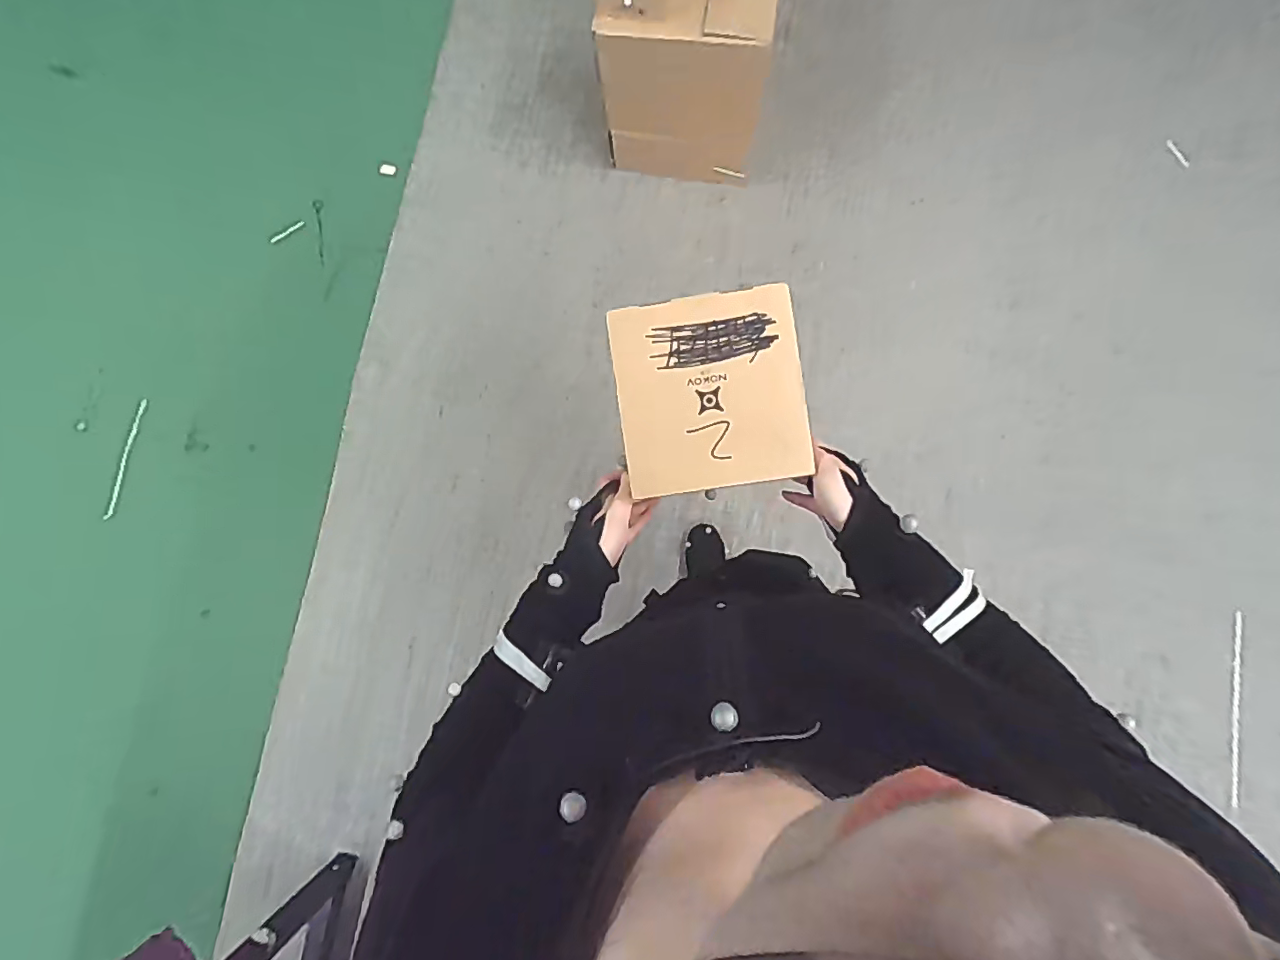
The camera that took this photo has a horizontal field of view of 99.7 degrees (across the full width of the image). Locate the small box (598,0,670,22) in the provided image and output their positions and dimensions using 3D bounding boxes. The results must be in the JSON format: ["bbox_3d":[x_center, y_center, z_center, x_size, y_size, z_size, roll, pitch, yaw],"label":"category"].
[{"bbox_3d":[-0.007,-1.141,1.151,0.168,0.176,0.179,10,86,3],"label":"small box"}]
